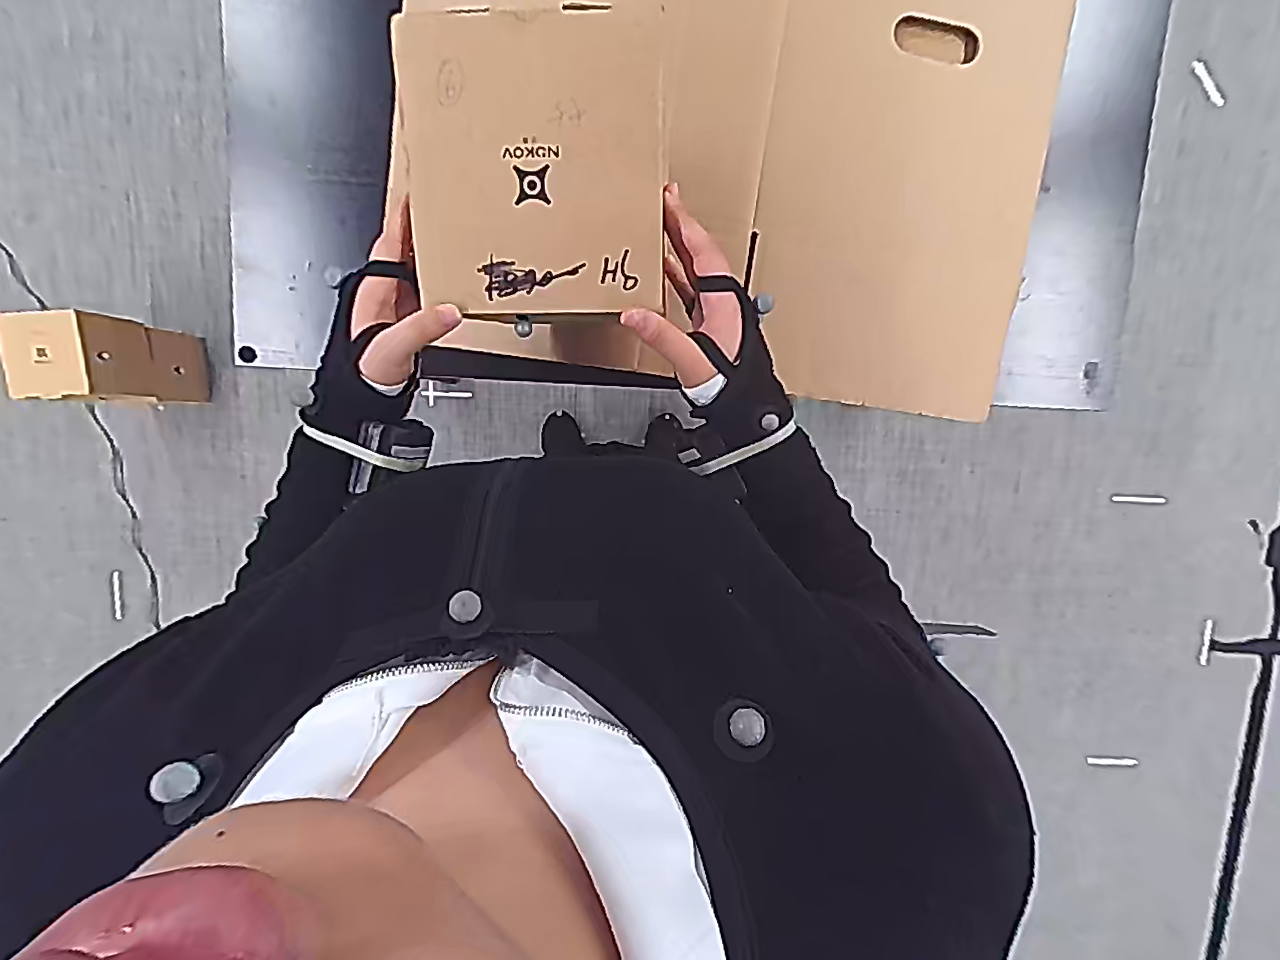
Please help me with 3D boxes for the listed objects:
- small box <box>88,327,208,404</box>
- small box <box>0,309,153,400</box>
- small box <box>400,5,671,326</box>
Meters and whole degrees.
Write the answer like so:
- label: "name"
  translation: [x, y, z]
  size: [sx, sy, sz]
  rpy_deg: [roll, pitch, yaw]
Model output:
- label: "small box"
  translation: [-1.227, -0.280, 1.347]
  size: [0.168, 0.176, 0.179]
  rpy_deg: [-1, 98, -1]
- label: "small box"
  translation: [-1.225, -0.267, 1.185]
  size: [0.168, 0.176, 0.179]
  rpy_deg: [-4, 96, -2]
- label: "small box"
  translation: [-0.060, -0.215, 0.418]
  size: [0.168, 0.176, 0.179]
  rpy_deg: [1, 104, 4]
